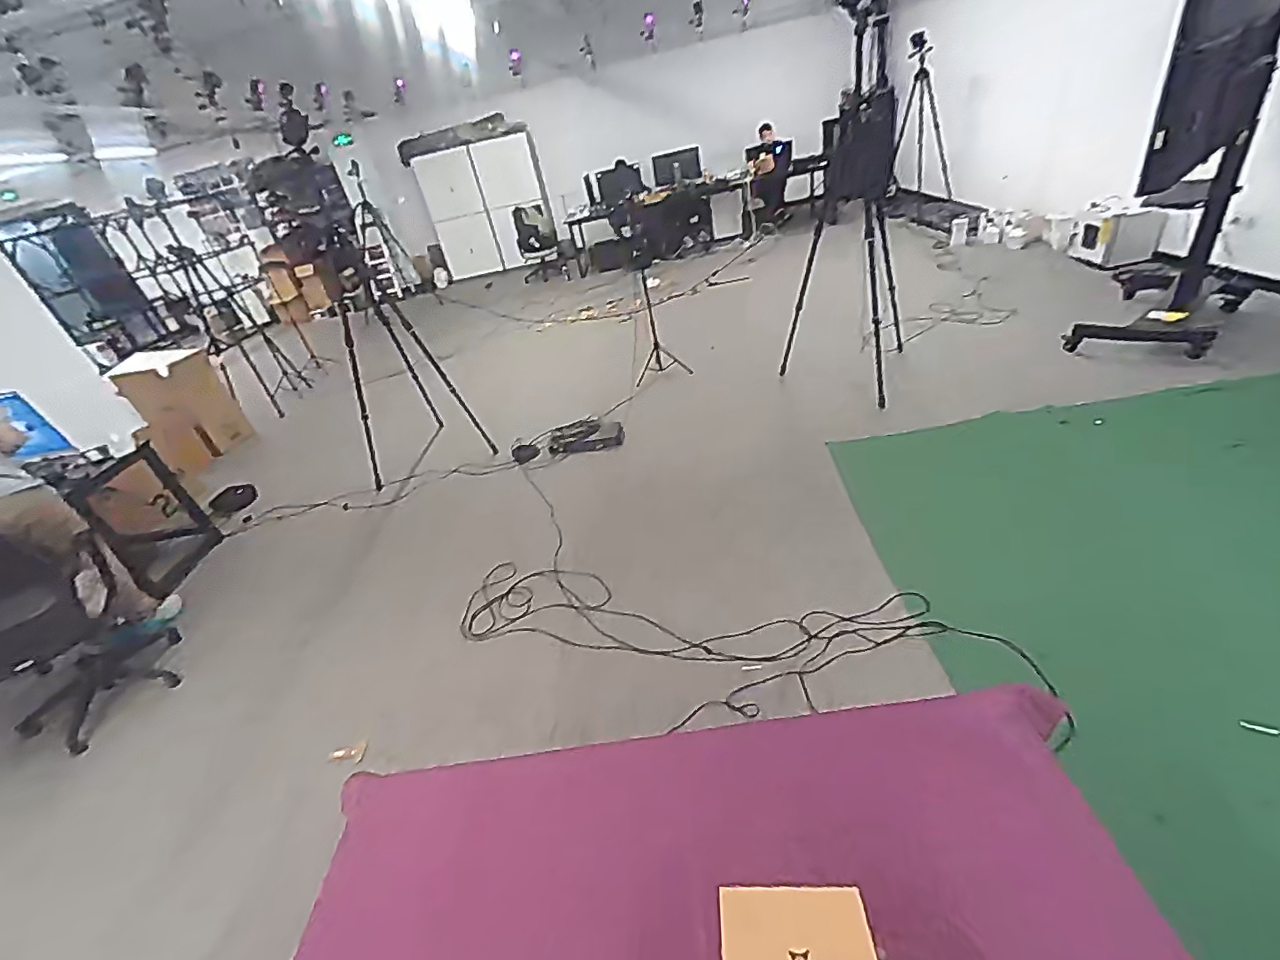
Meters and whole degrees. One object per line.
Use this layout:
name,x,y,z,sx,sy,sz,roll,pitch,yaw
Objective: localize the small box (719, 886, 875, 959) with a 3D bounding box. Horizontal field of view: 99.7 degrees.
small box,0.174,0.591,0.589,0.168,0.176,0.179,-5,19,8
